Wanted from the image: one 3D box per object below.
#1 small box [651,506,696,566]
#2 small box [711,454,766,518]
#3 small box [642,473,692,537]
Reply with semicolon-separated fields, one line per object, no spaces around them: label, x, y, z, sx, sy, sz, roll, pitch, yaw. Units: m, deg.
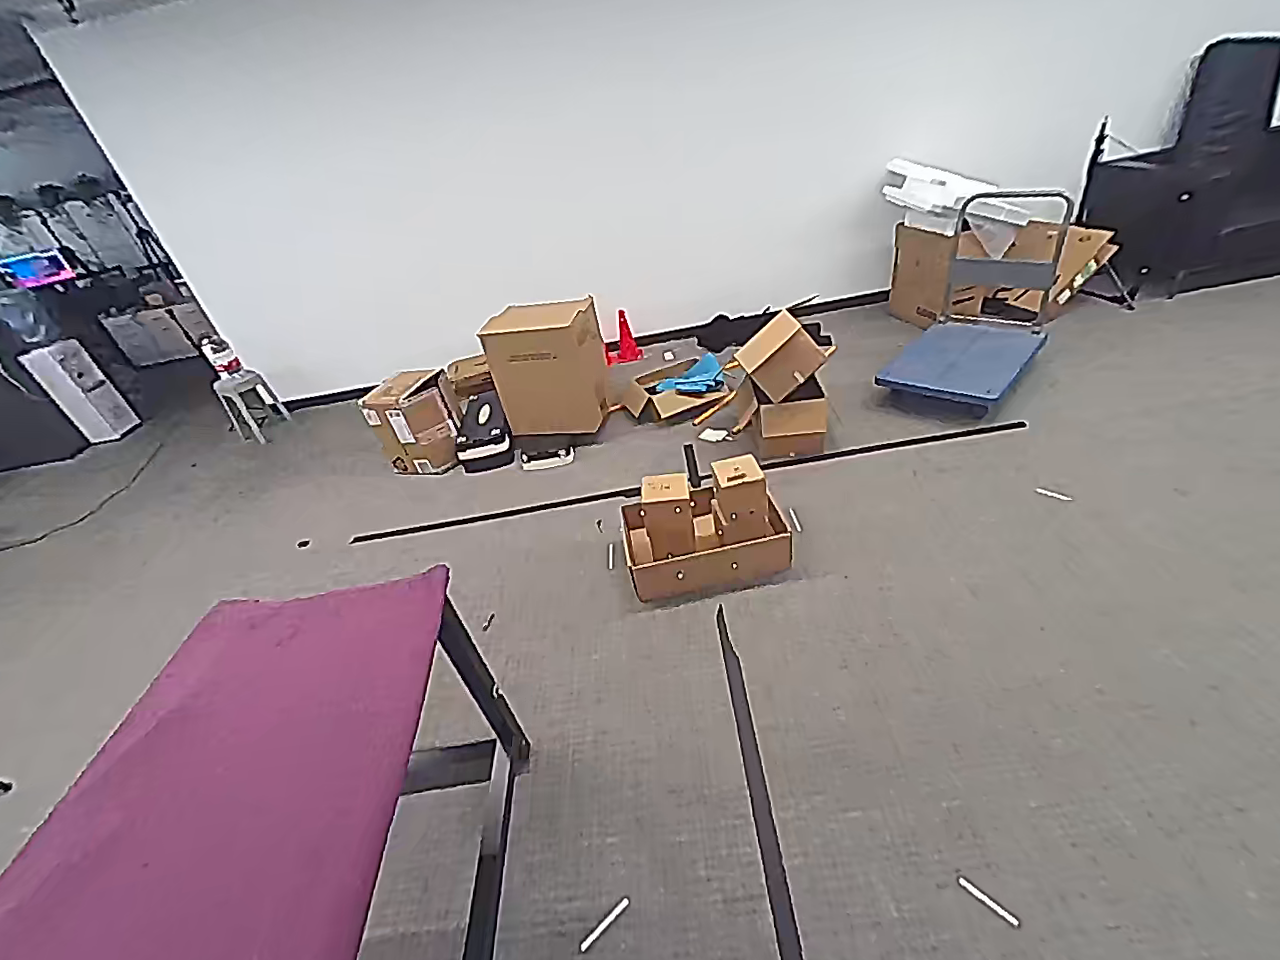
small box;0.132;0.220;2.156;0.168;0.176;0.179;-5;34;7
small box;0.376;0.031;2.058;0.168;0.176;0.179;-12;33;0
small box;0.104;0.096;2.049;0.179;0.176;0.168;-7;34;6
